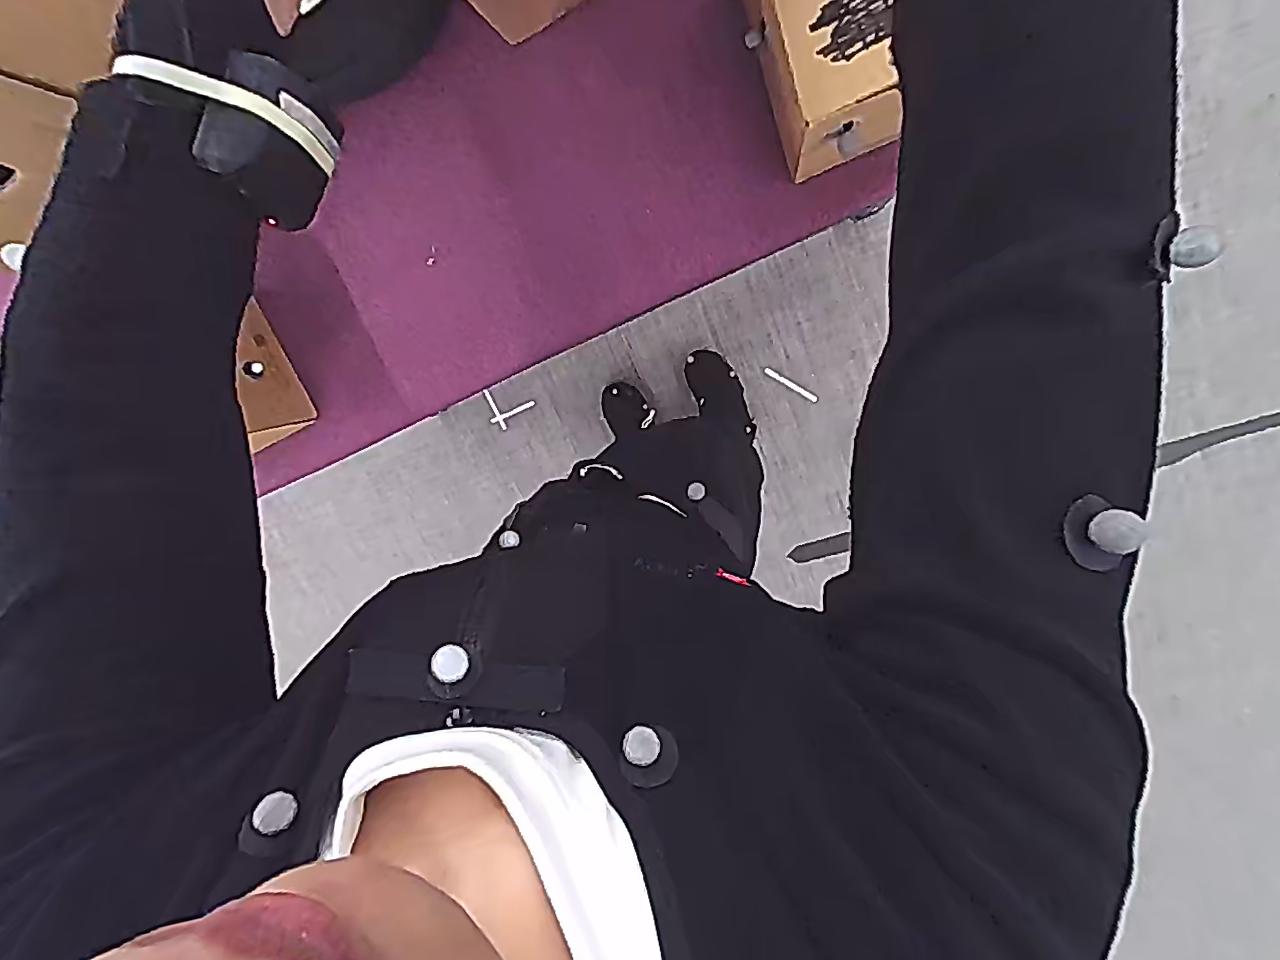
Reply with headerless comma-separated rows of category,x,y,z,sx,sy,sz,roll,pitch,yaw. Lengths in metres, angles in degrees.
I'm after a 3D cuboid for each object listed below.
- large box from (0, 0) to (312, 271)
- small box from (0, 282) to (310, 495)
large box,-0.591,-0.433,0.450,0.320,0.320,0.408,-18,105,17
small box,-0.531,-0.104,0.614,0.179,0.176,0.168,-21,100,17
